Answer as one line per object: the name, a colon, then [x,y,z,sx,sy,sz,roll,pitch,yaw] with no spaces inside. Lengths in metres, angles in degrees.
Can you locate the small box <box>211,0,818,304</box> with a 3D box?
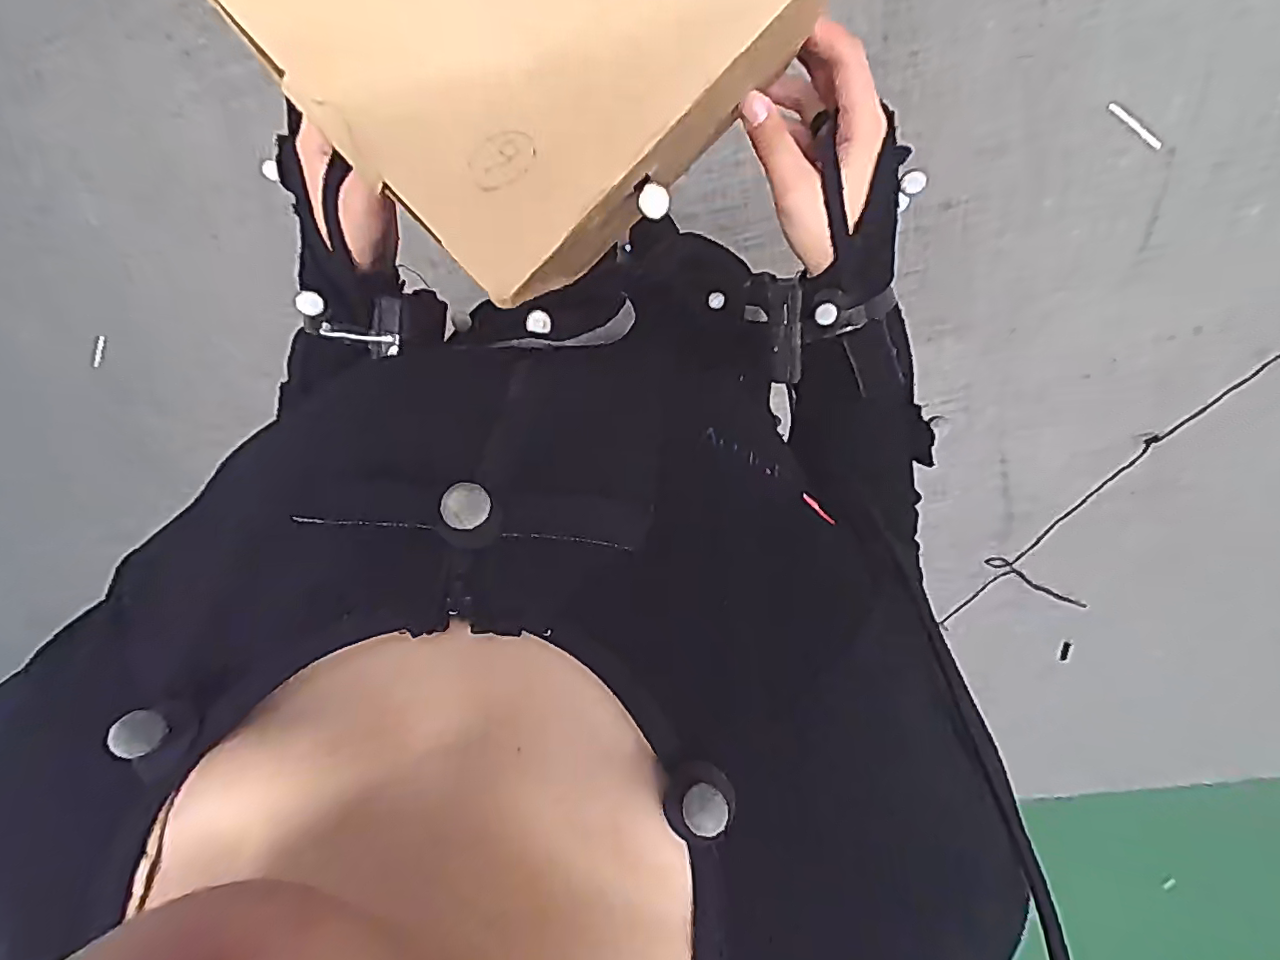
small box: [-0.038,-0.206,0.241,0.179,0.176,0.168,-38,106,19]
